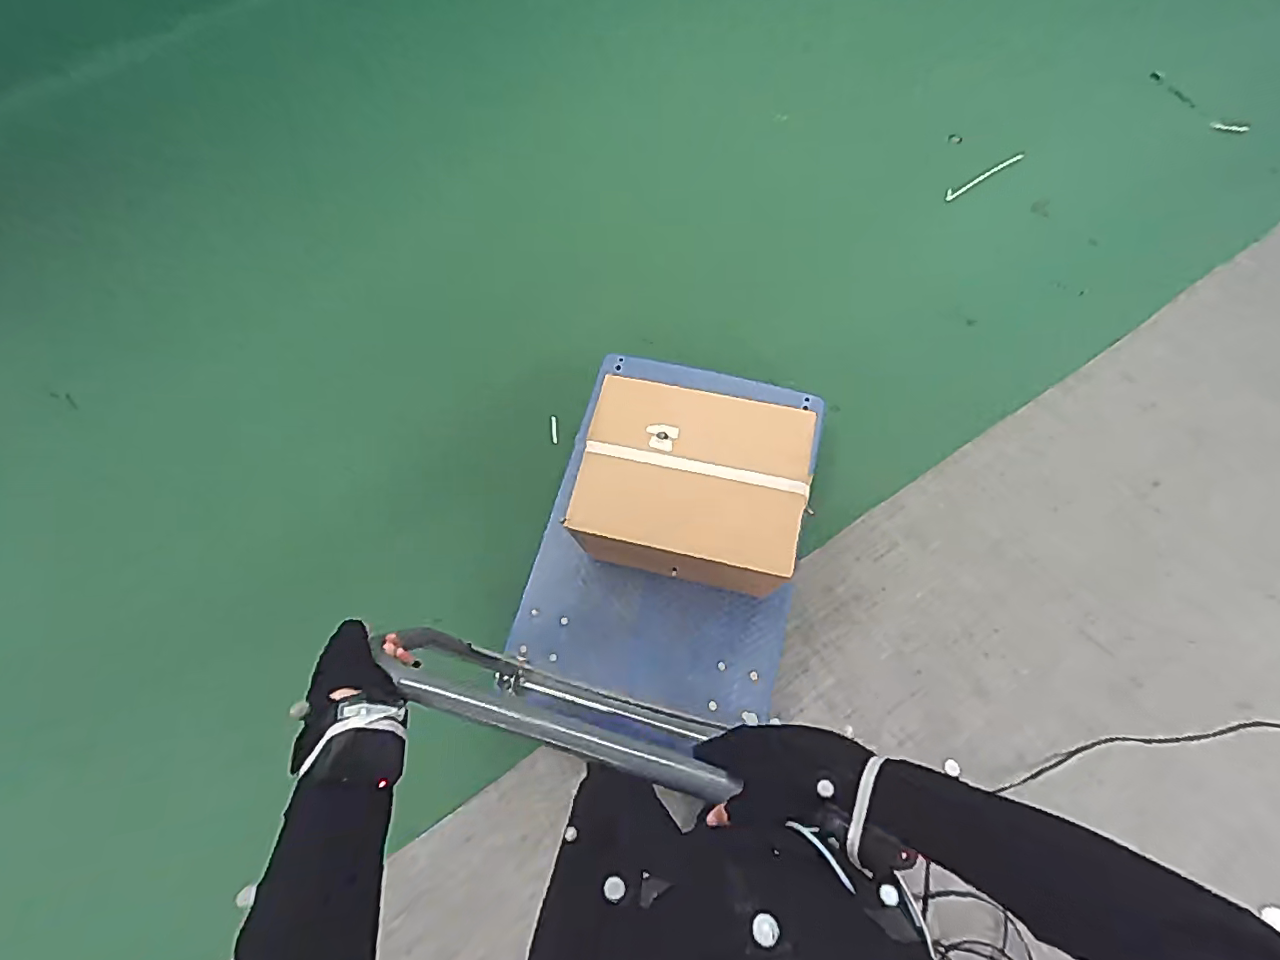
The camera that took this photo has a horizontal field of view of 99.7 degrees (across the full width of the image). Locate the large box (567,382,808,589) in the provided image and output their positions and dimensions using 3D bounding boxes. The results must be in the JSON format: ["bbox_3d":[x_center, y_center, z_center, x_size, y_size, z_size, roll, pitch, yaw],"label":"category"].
[{"bbox_3d":[0.104,0.028,1.130,0.408,0.320,0.320,11,72,8],"label":"large box"}]
